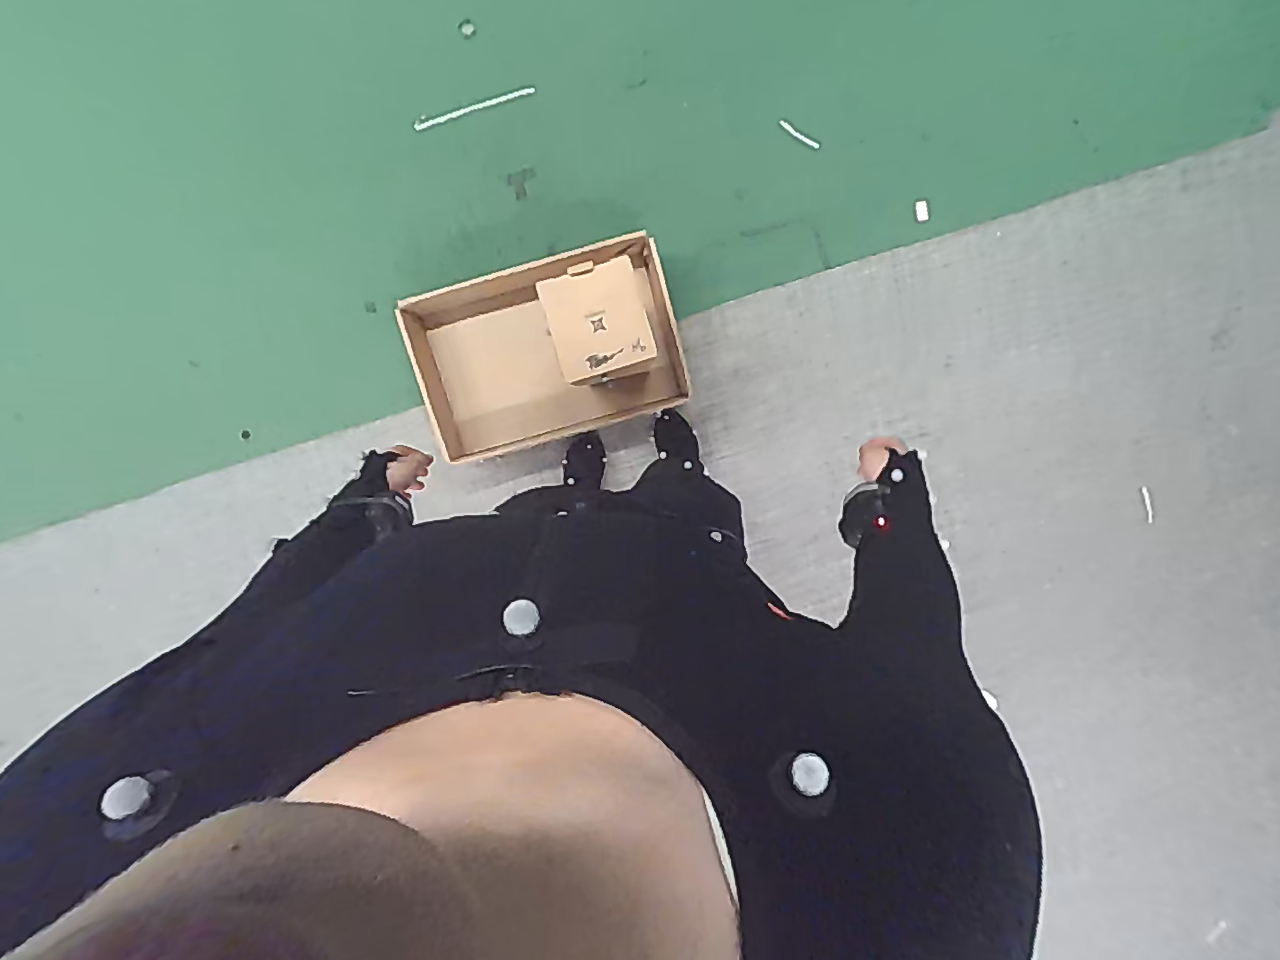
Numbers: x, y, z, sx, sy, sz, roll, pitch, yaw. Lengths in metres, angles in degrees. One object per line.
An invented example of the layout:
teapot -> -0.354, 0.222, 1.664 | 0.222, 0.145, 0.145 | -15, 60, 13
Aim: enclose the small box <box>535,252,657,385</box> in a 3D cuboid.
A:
small box -> -0.075, -0.279, 0.973 | 0.168, 0.176, 0.179 | -17, 97, 2
